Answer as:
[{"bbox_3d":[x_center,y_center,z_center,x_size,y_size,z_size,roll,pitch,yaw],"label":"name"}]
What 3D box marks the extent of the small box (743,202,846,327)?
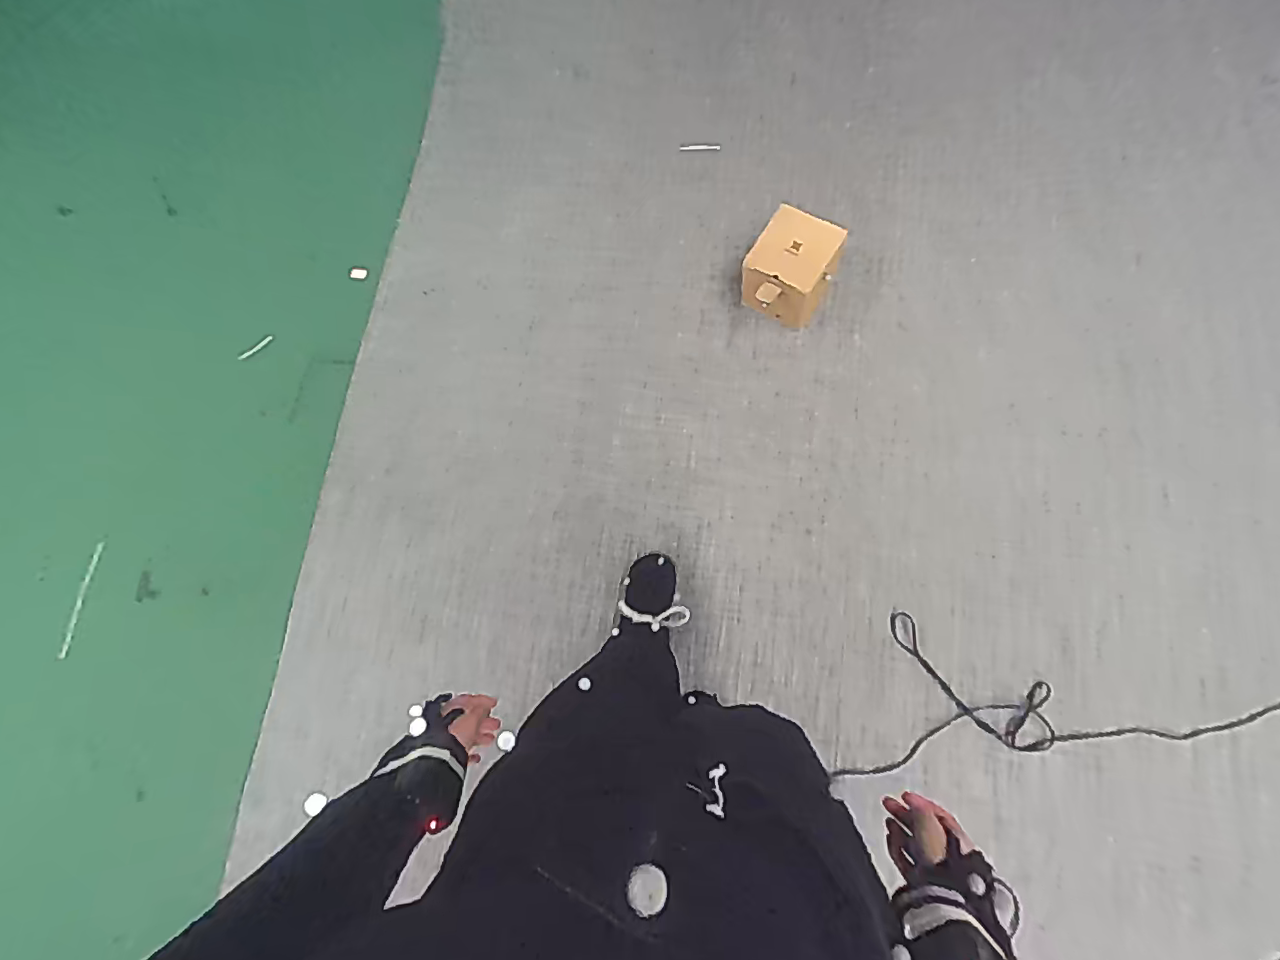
[{"bbox_3d":[0.349,-0.495,1.263,0.168,0.176,0.179,32,85,14],"label":"small box"}]
